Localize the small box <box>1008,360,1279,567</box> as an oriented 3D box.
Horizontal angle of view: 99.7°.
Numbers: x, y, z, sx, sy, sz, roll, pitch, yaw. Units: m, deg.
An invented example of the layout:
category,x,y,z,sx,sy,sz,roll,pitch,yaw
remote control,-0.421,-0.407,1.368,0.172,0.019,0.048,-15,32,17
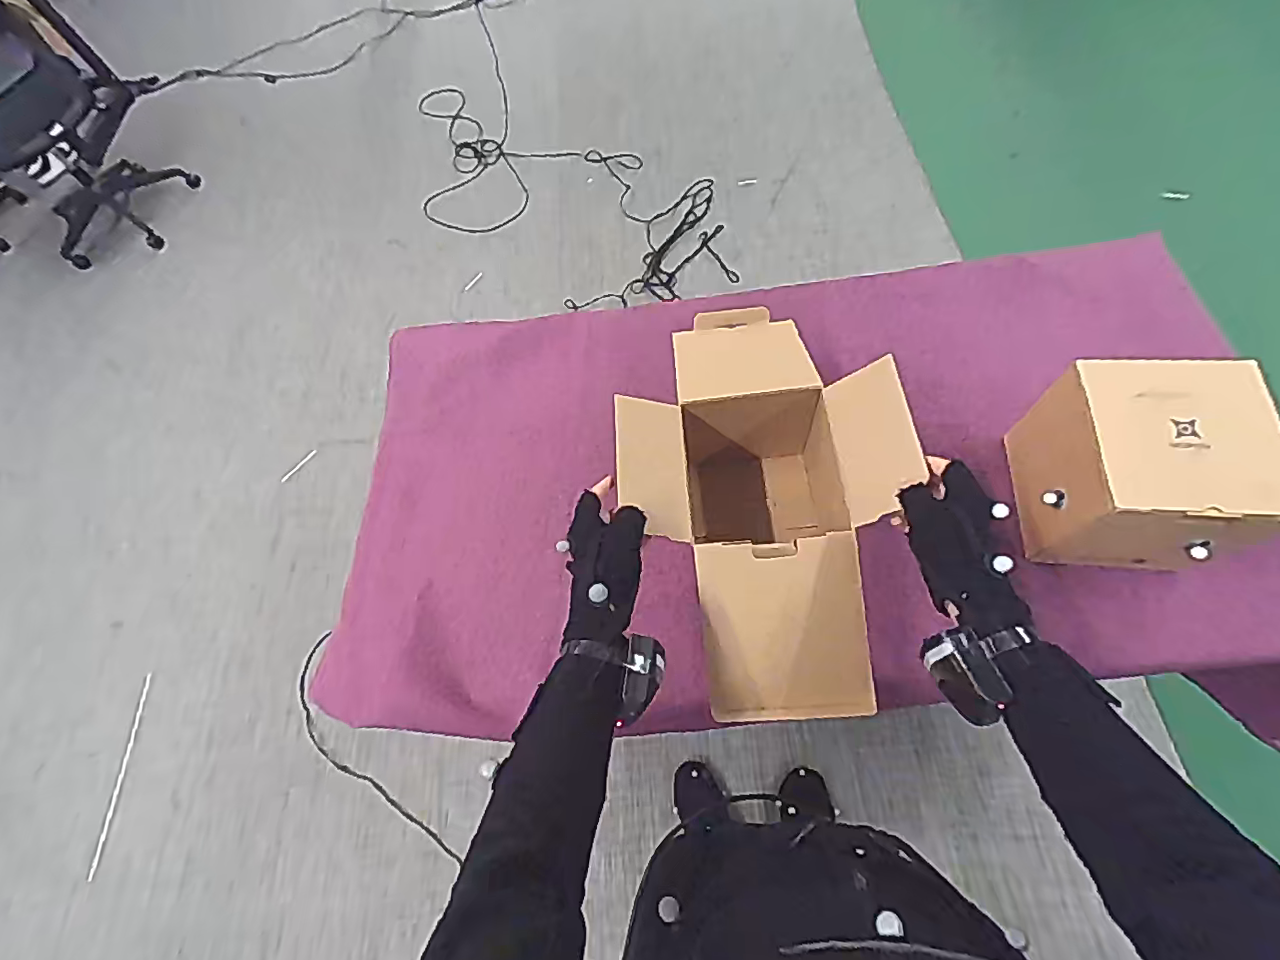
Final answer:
category,x,y,z,sx,sy,sz,roll,pitch,yaw
small box,0.543,-0.012,0.598,0.168,0.176,0.179,3,65,10
